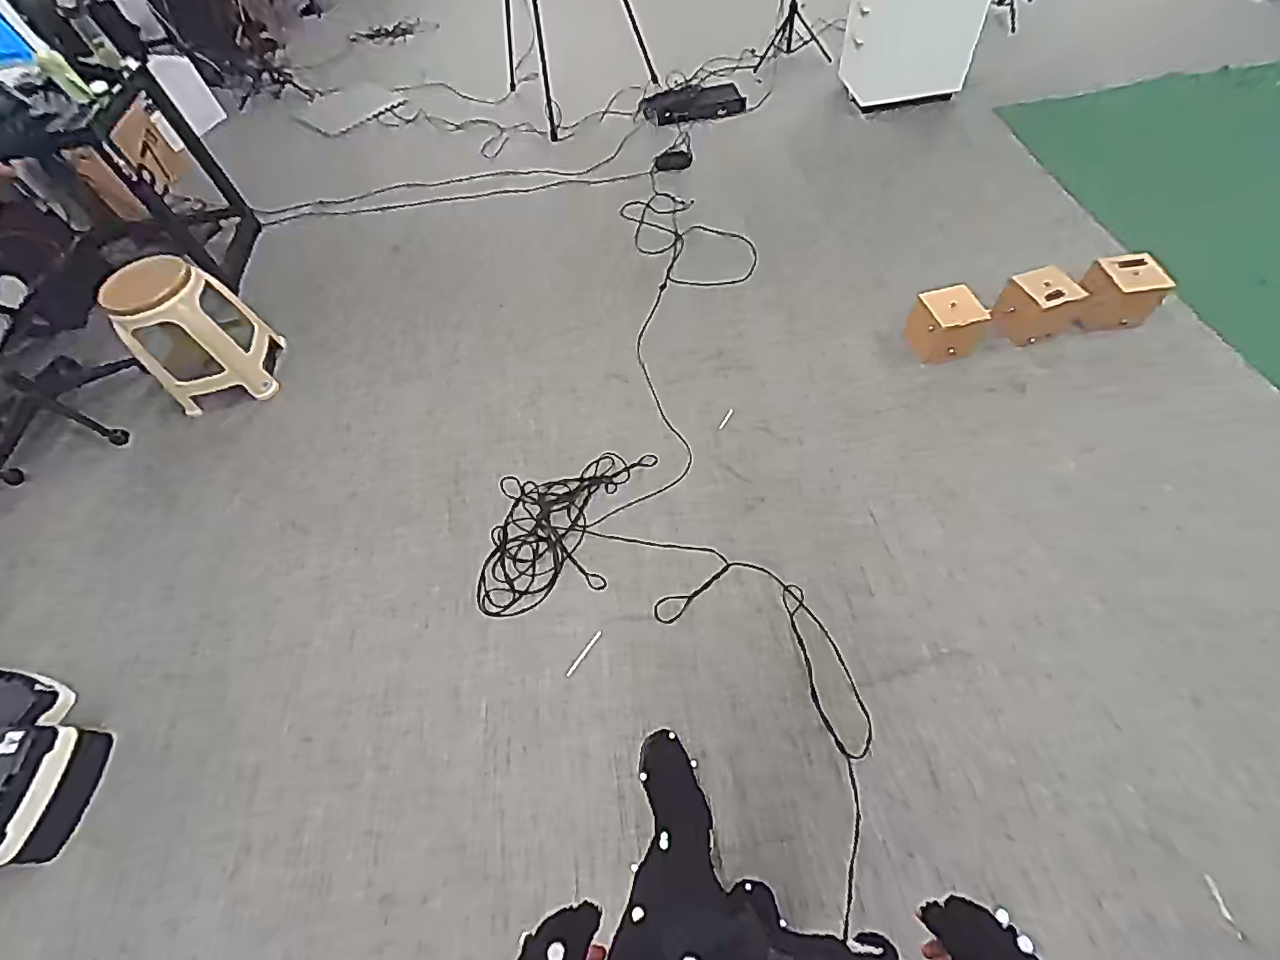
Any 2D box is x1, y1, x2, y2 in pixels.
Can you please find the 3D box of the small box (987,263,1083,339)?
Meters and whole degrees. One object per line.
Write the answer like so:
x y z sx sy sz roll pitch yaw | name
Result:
1.340 -0.602 1.848 0.168 0.176 0.179 -16 56 -4 | small box

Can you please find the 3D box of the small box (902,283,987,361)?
1.029 -0.537 1.844 0.168 0.176 0.179 -13 58 -1 | small box
